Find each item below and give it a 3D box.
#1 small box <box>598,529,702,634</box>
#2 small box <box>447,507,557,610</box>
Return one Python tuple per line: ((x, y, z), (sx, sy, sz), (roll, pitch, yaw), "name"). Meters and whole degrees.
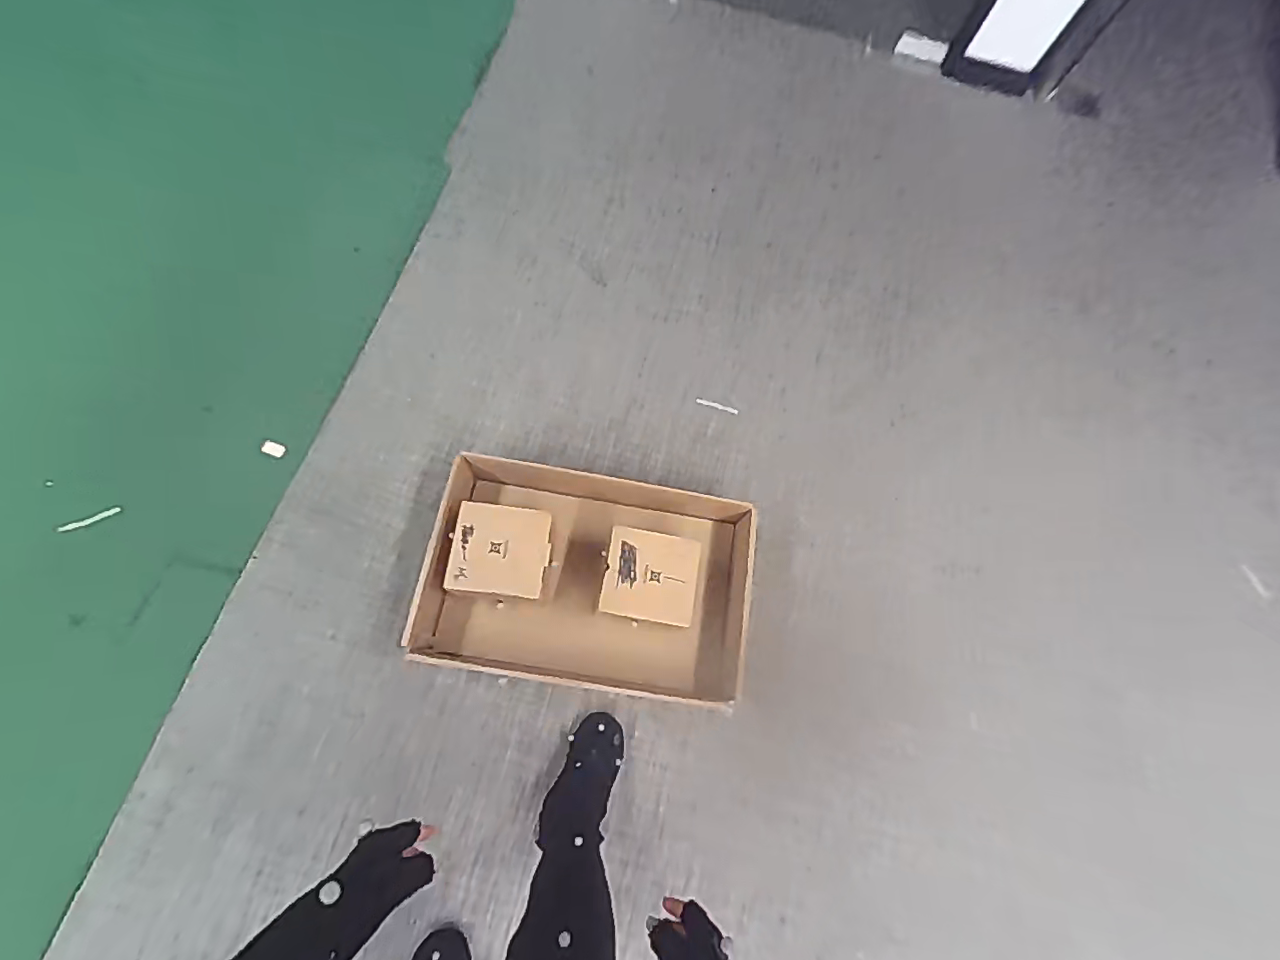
((0.015, 0.211, 1.086), (0.179, 0.176, 0.168), (11, 71, -2), "small box")
((-0.262, 0.163, 1.074), (0.179, 0.176, 0.168), (8, 70, -5), "small box")
